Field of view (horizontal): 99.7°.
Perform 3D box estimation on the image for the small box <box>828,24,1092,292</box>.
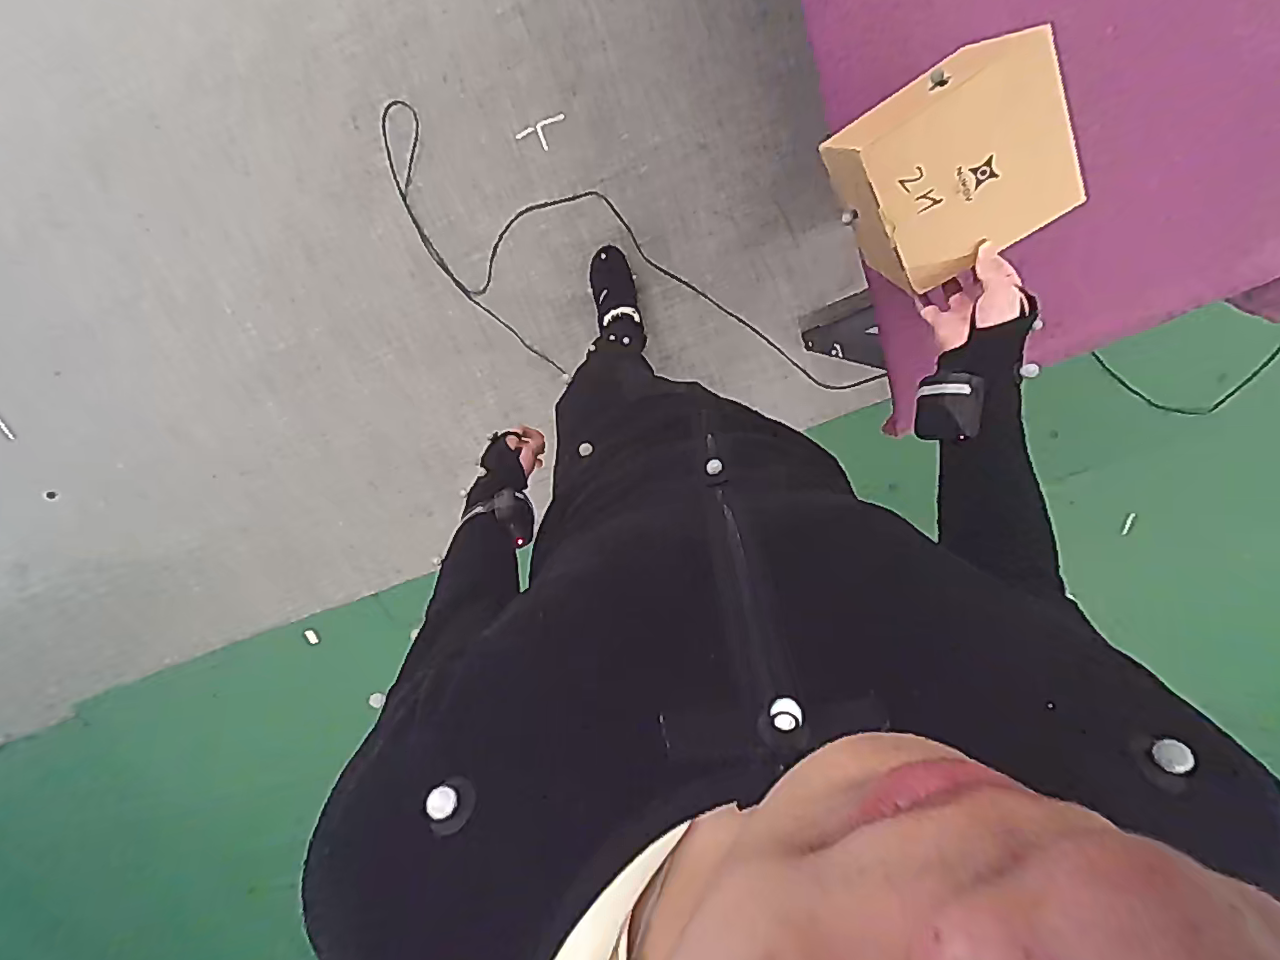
[{"bbox_3d":[0.334,-0.343,0.592,0.179,0.176,0.168,-28,117,21],"label":"small box"}]
